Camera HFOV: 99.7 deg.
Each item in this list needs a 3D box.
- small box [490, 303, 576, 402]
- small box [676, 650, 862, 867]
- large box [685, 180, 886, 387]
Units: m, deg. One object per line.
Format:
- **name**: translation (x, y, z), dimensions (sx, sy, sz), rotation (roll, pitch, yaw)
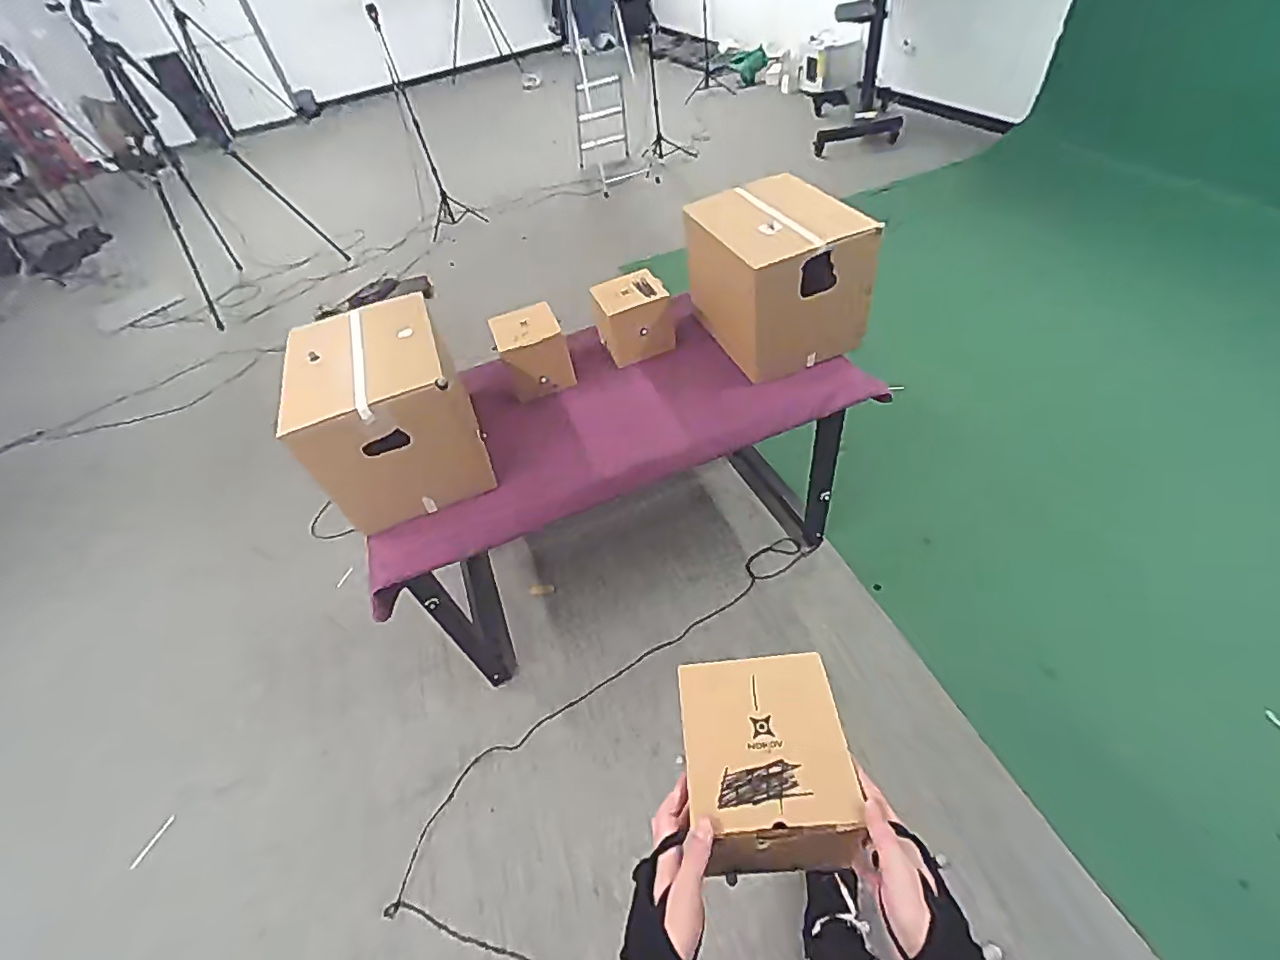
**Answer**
- **small box**: translation (-0.282, -0.336, 1.435), dimensions (0.168, 0.176, 0.179), rotation (-21, 48, -7)
- **small box**: translation (0.135, 0.320, 0.614), dimensions (0.168, 0.176, 0.179), rotation (-7, 42, 4)
- **large box**: translation (0.342, -0.506, 1.381), dimensions (0.320, 0.320, 0.408), rotation (-21, 48, -7)
